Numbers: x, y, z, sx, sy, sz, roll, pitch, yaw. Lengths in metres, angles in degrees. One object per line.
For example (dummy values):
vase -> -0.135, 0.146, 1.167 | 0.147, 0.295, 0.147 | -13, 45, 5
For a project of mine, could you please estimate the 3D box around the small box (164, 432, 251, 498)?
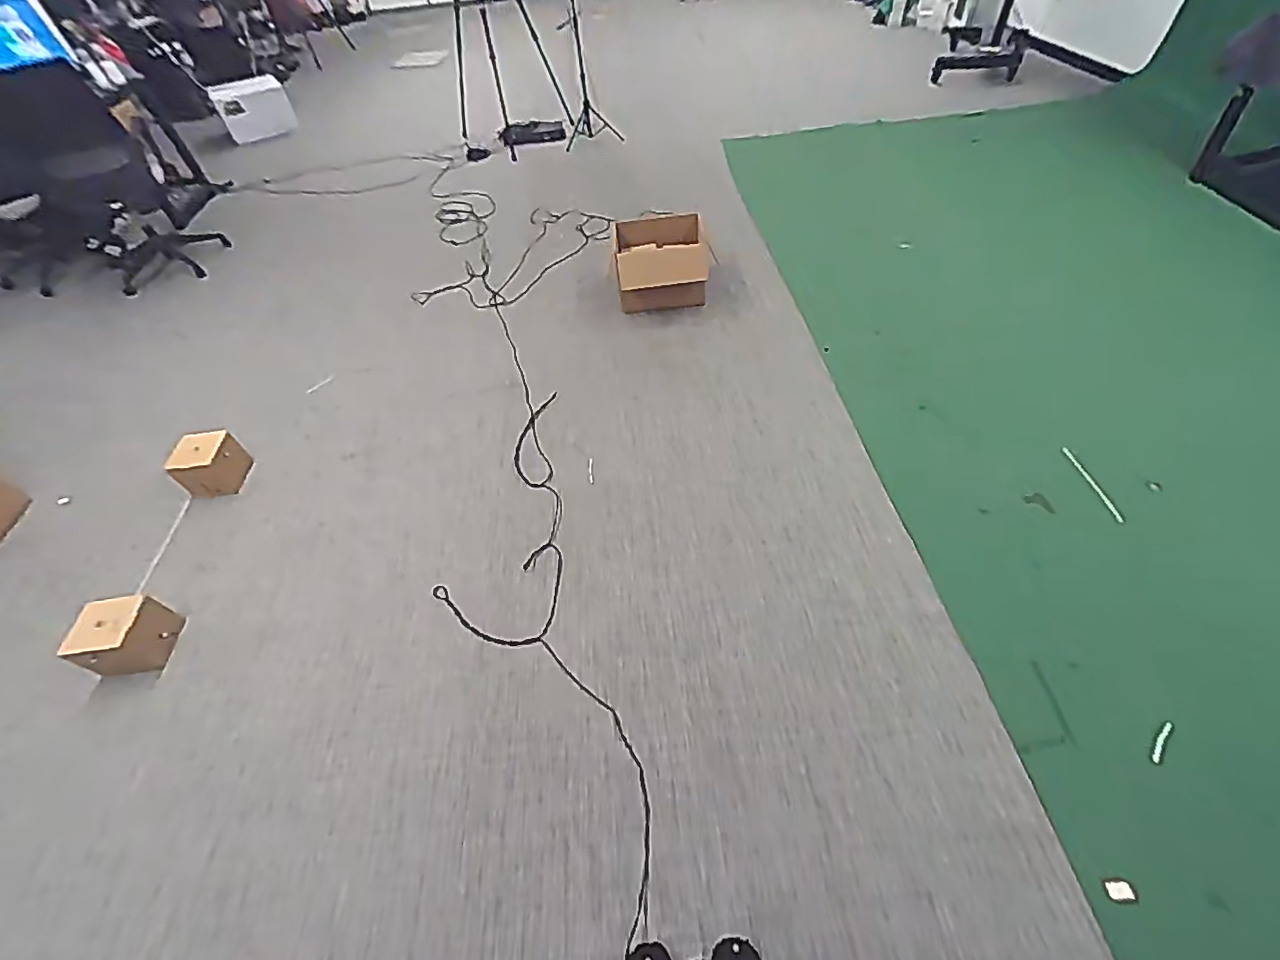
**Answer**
small box -> -1.606, -0.055, 2.022 | 0.168, 0.176, 0.179 | -7, 51, -1

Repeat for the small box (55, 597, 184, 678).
small box -> -1.513, 0.465, 1.585 | 0.179, 0.176, 0.168 | -8, 51, -1
